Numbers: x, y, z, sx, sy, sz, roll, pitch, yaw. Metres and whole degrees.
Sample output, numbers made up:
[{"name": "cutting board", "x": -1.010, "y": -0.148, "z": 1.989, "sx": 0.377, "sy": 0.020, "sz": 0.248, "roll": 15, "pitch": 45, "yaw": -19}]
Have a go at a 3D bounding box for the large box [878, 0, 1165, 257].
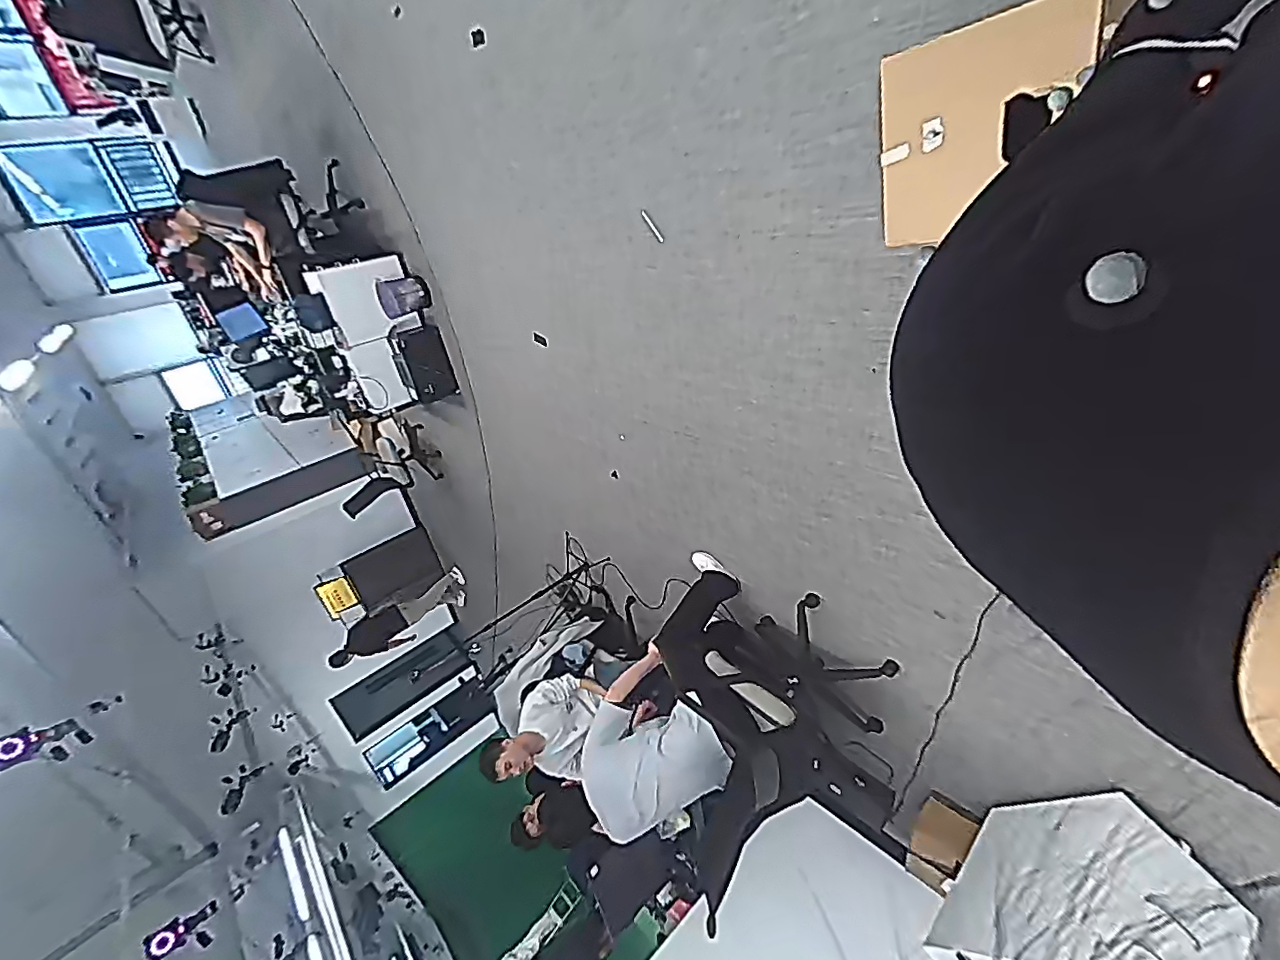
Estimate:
[{"name": "large box", "x": 0.690, "y": -0.634, "z": 1.001, "sx": 0.320, "sy": 0.408, "sz": 0.320, "roll": 19, "pitch": 131, "yaw": 48}]
